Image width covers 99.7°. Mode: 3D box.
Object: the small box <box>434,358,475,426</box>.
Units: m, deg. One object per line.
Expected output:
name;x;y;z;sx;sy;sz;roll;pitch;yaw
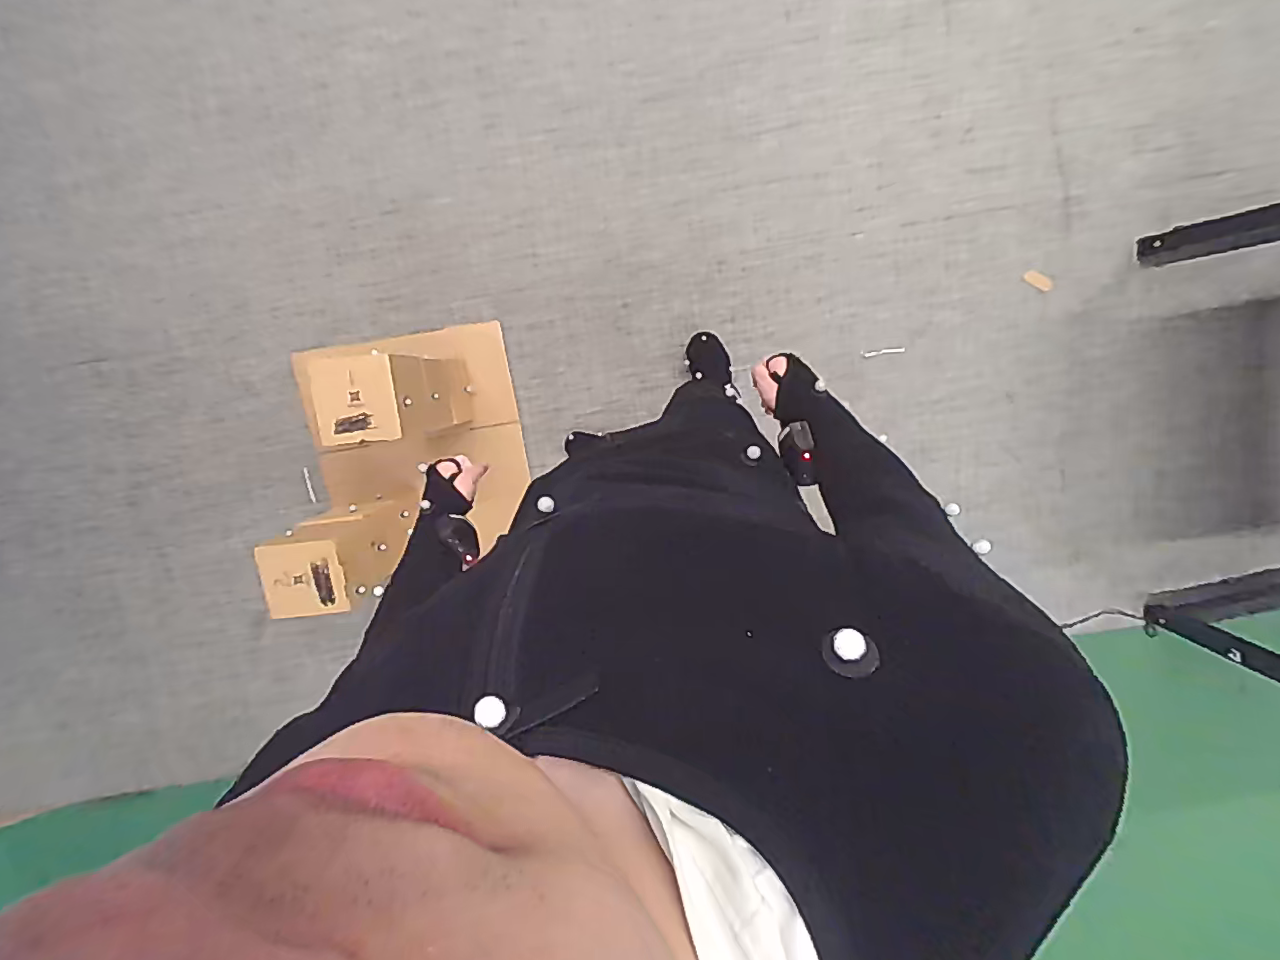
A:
small box;-0.569;-0.235;1.487;0.168;0.176;0.179;-6;101;1

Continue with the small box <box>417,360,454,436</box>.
small box;-0.570;-0.202;1.327;0.168;0.176;0.179;-4;101;-1

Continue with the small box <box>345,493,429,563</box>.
small box;-0.732;0.140;1.556;0.168;0.176;0.179;-8;101;1

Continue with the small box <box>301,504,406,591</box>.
small box;-0.730;0.165;1.396;0.168;0.176;0.179;-8;102;0

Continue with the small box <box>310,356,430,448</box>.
small box;-0.570;-0.173;1.166;0.168;0.176;0.179;-5;101;-1
